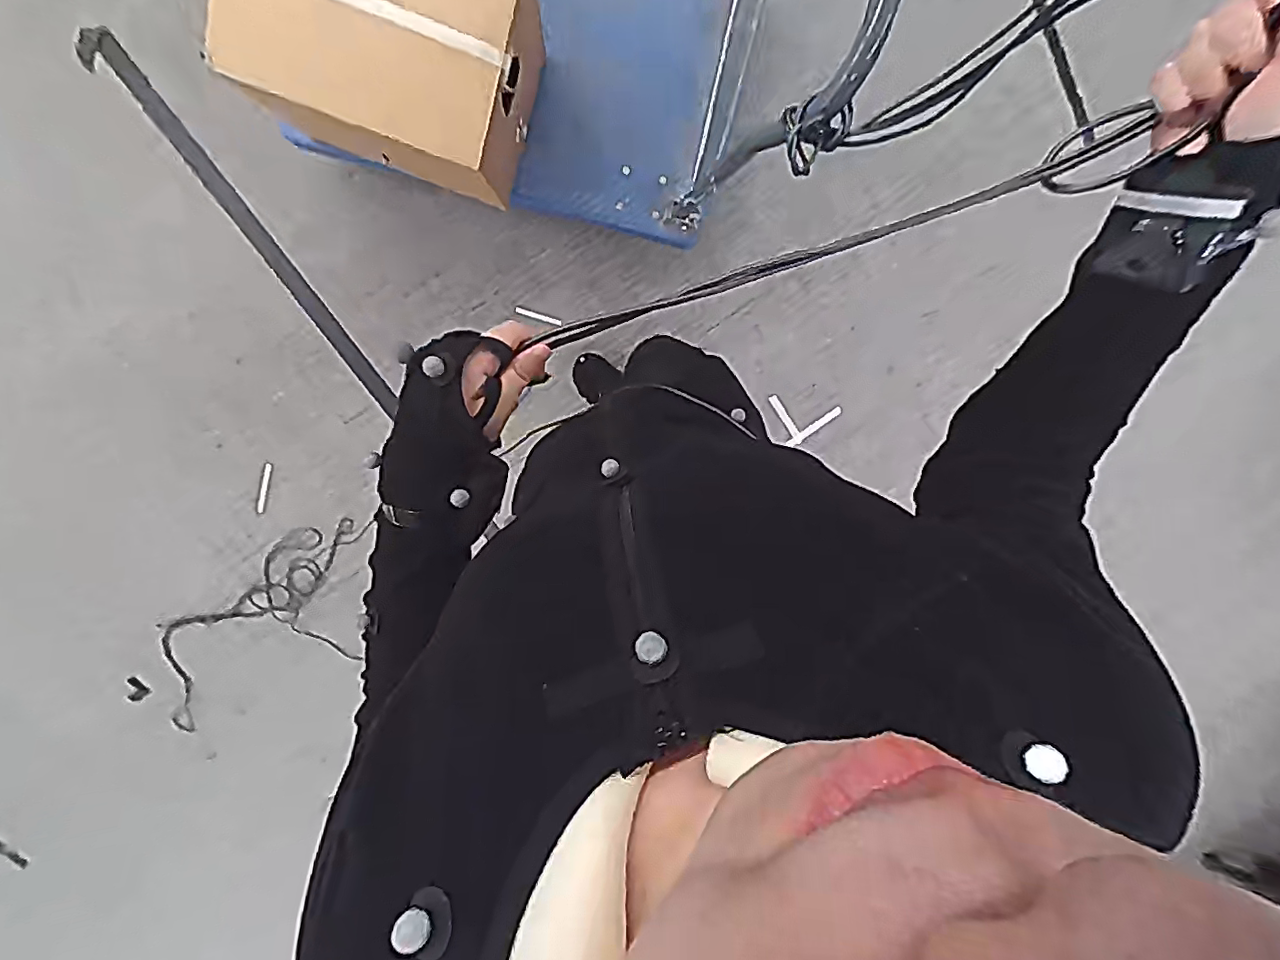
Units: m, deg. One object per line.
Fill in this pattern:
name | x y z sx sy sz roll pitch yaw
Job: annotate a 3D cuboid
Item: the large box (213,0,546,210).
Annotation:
large box | -0.401 -0.708 0.924 0.408 0.320 0.320 16 103 -9
